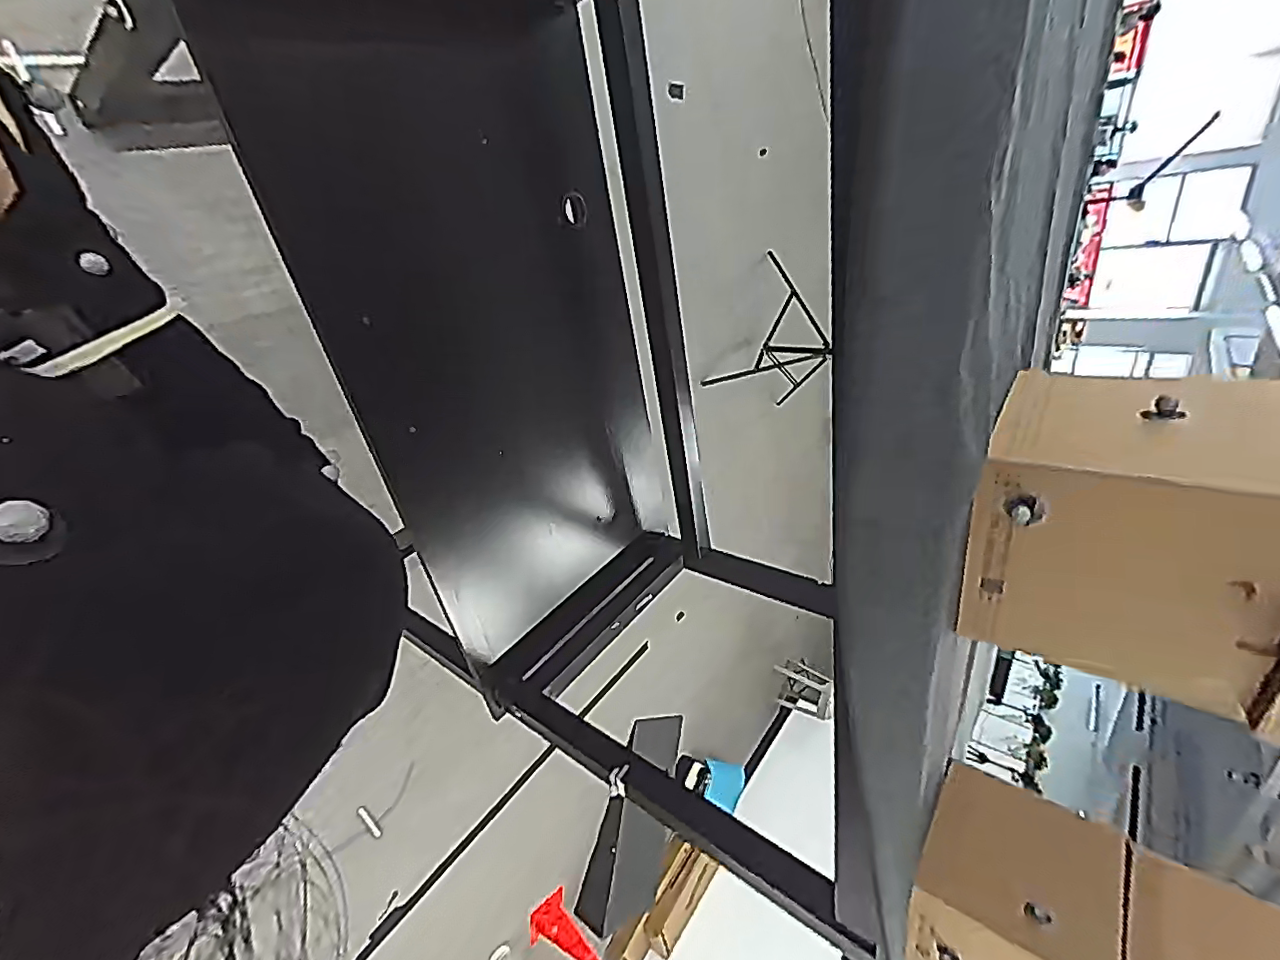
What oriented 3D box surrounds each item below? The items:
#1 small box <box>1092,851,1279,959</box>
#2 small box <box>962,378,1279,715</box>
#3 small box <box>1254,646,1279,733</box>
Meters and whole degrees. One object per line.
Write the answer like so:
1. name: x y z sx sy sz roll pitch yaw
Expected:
1. small box: 0.525 0.493 0.488 0.179 0.176 0.168 -36 126 -39
2. small box: 0.360 0.030 0.412 0.179 0.176 0.168 -39 129 -40
3. small box: 0.478 0.063 0.304 0.179 0.176 0.168 -41 131 -39
